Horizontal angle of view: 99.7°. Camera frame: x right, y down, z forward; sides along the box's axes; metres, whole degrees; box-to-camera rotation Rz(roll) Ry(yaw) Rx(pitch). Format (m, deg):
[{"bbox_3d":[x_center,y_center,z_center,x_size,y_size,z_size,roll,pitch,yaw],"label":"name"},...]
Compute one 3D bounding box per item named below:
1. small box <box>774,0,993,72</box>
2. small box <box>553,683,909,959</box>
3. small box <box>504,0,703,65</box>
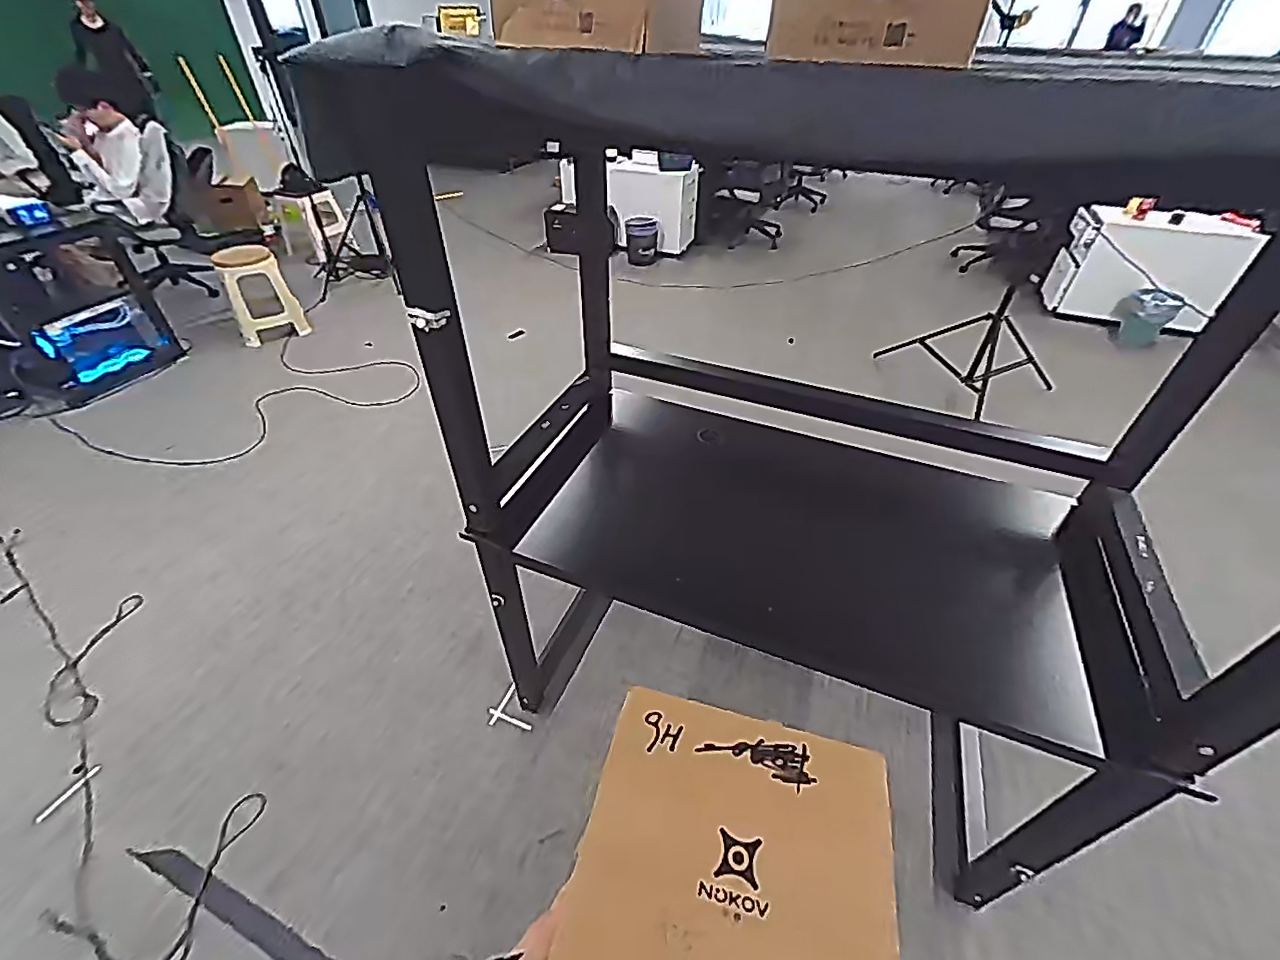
[{"bbox_3d":[0.220,-0.457,0.455,0.168,0.176,0.179,16,41,17],"label":"small box"},{"bbox_3d":[0.050,0.263,0.334,0.168,0.176,0.179,12,45,9],"label":"small box"},{"bbox_3d":[-0.032,-0.526,0.535,0.168,0.176,0.179,16,42,15],"label":"small box"}]
